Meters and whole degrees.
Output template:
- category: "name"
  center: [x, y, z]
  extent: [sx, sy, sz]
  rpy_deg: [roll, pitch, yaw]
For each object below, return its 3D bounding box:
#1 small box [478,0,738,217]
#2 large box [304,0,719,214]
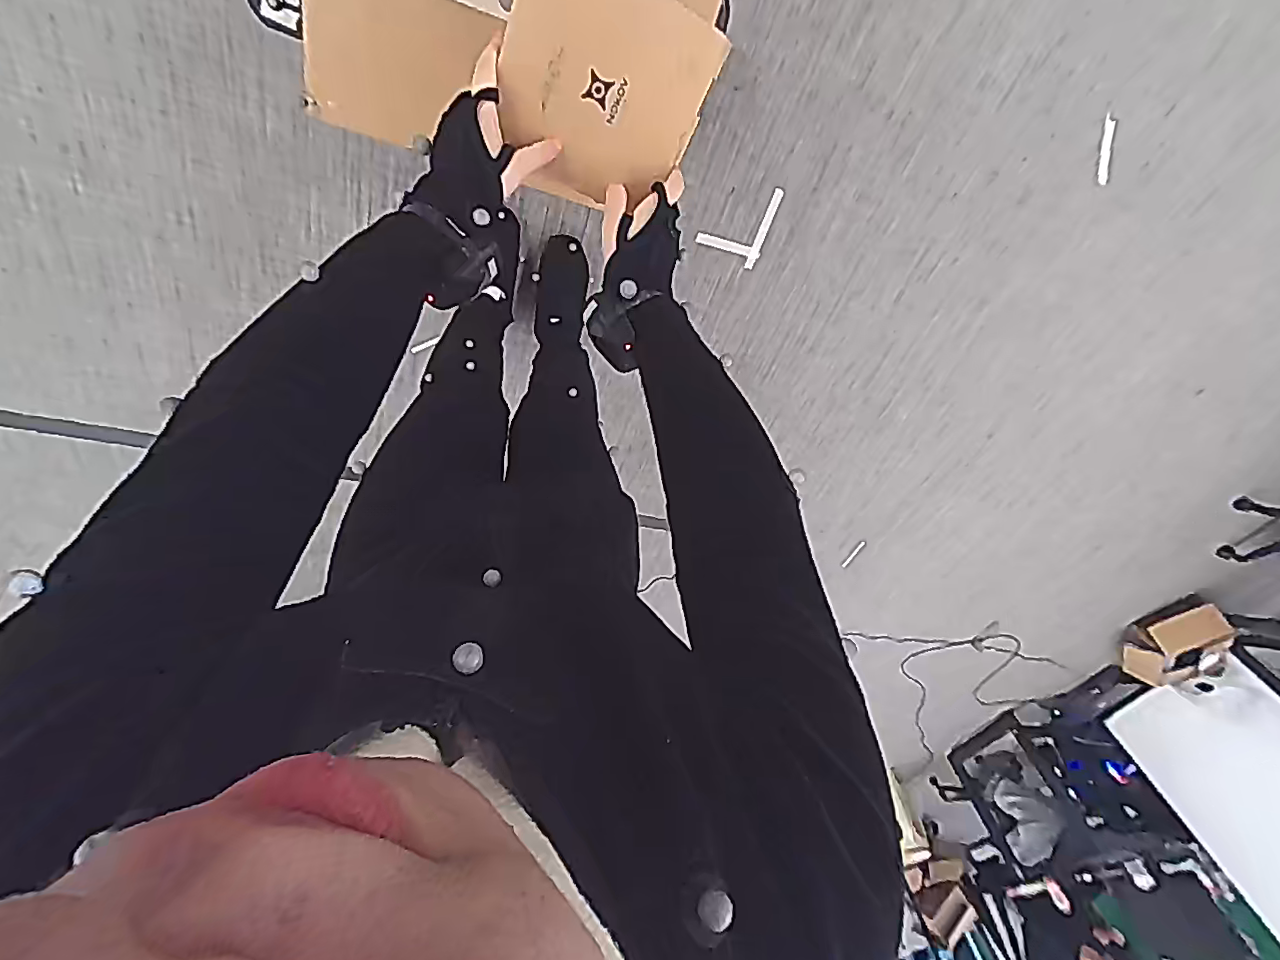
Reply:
- category: "small box"
  center: [-0.039, -0.391, 0.518]
  extent: [0.179, 0.176, 0.168]
  rpy_deg: [17, 126, -23]
- category: "large box"
  center: [-0.142, -0.578, 0.664]
  extent: [0.408, 0.320, 0.320]
  rpy_deg: [10, 127, -17]
